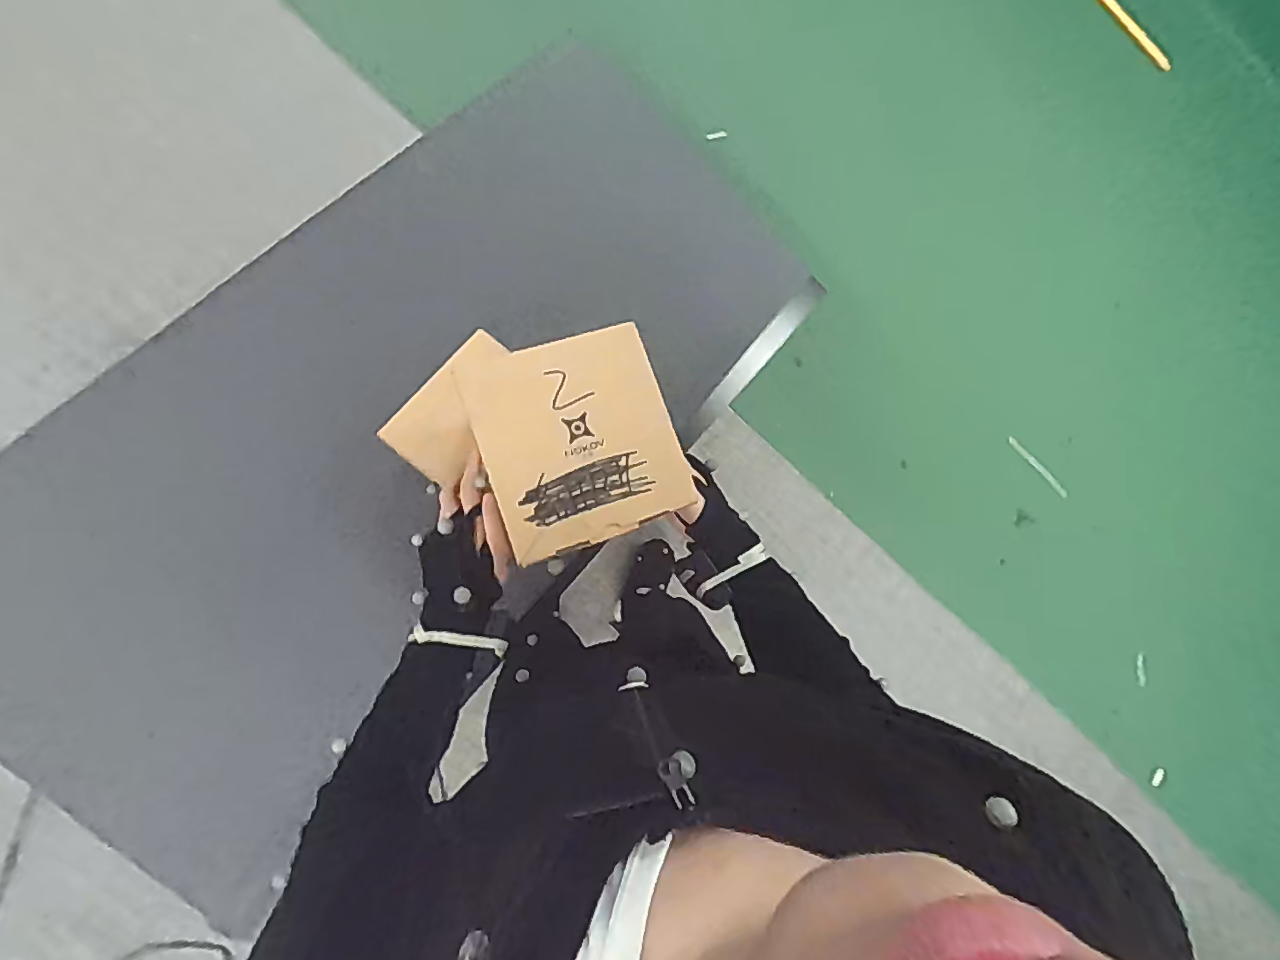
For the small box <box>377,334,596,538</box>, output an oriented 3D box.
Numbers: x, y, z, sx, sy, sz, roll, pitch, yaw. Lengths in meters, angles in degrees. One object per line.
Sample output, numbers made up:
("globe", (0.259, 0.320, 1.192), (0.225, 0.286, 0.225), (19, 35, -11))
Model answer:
("small box", (-0.182, -0.039, 0.668), (0.179, 0.176, 0.168), (40, 76, -5))
